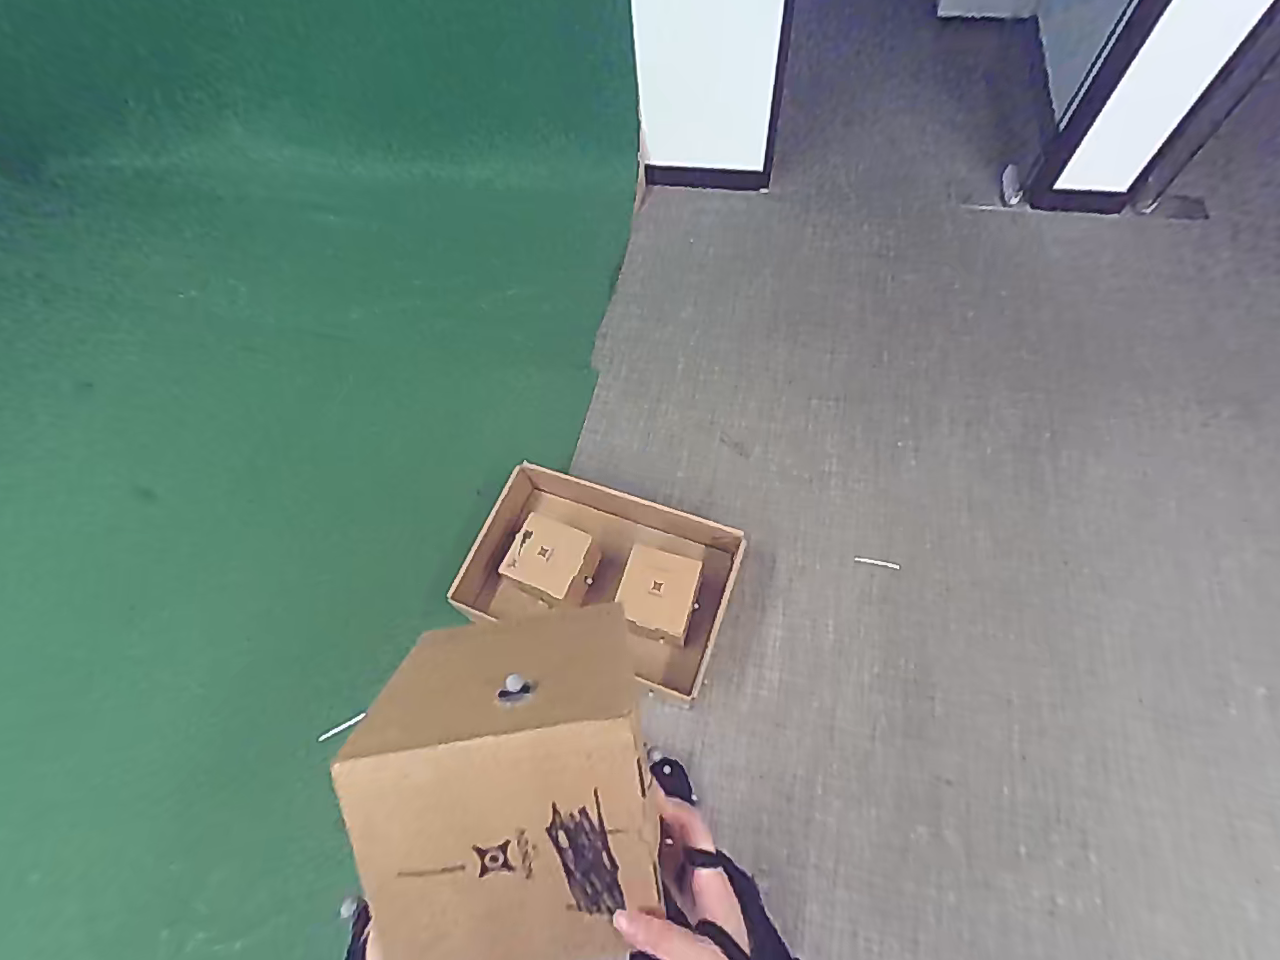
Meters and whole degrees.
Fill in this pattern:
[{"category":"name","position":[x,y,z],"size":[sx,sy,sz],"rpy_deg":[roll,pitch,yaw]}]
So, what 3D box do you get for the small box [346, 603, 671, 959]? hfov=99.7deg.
[{"category":"small box","position":[-0.081,0.206,0.408],"size":[0.179,0.176,0.168],"rpy_deg":[-8,100,-2]}]
